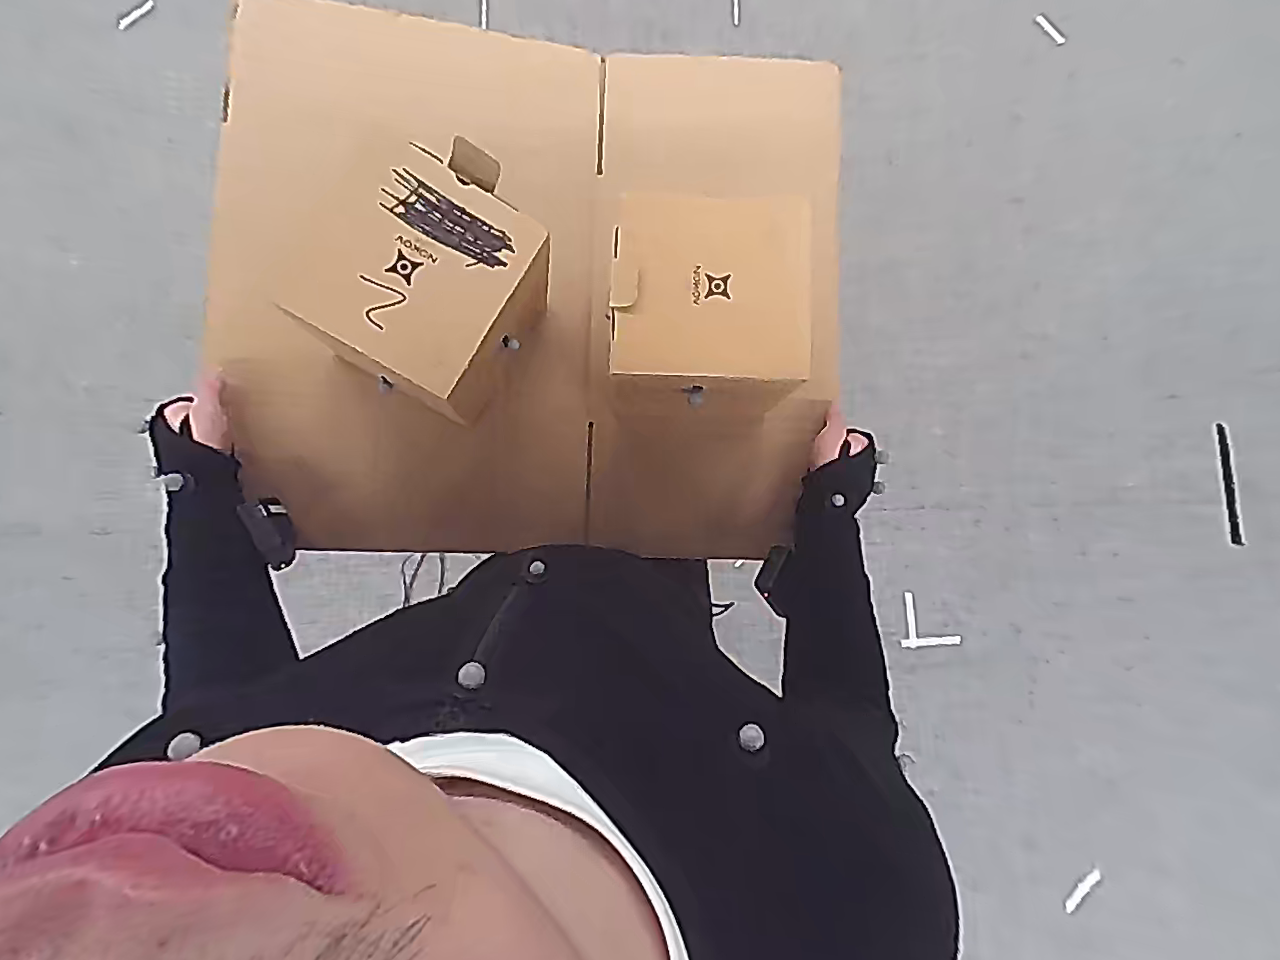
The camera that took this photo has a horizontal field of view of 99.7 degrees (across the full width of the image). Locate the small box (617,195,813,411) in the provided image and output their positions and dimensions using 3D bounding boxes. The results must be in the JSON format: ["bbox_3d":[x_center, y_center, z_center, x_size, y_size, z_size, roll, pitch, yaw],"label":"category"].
[{"bbox_3d":[0.068,-0.170,0.568,0.179,0.176,0.168,2,86,0],"label":"small box"}]
